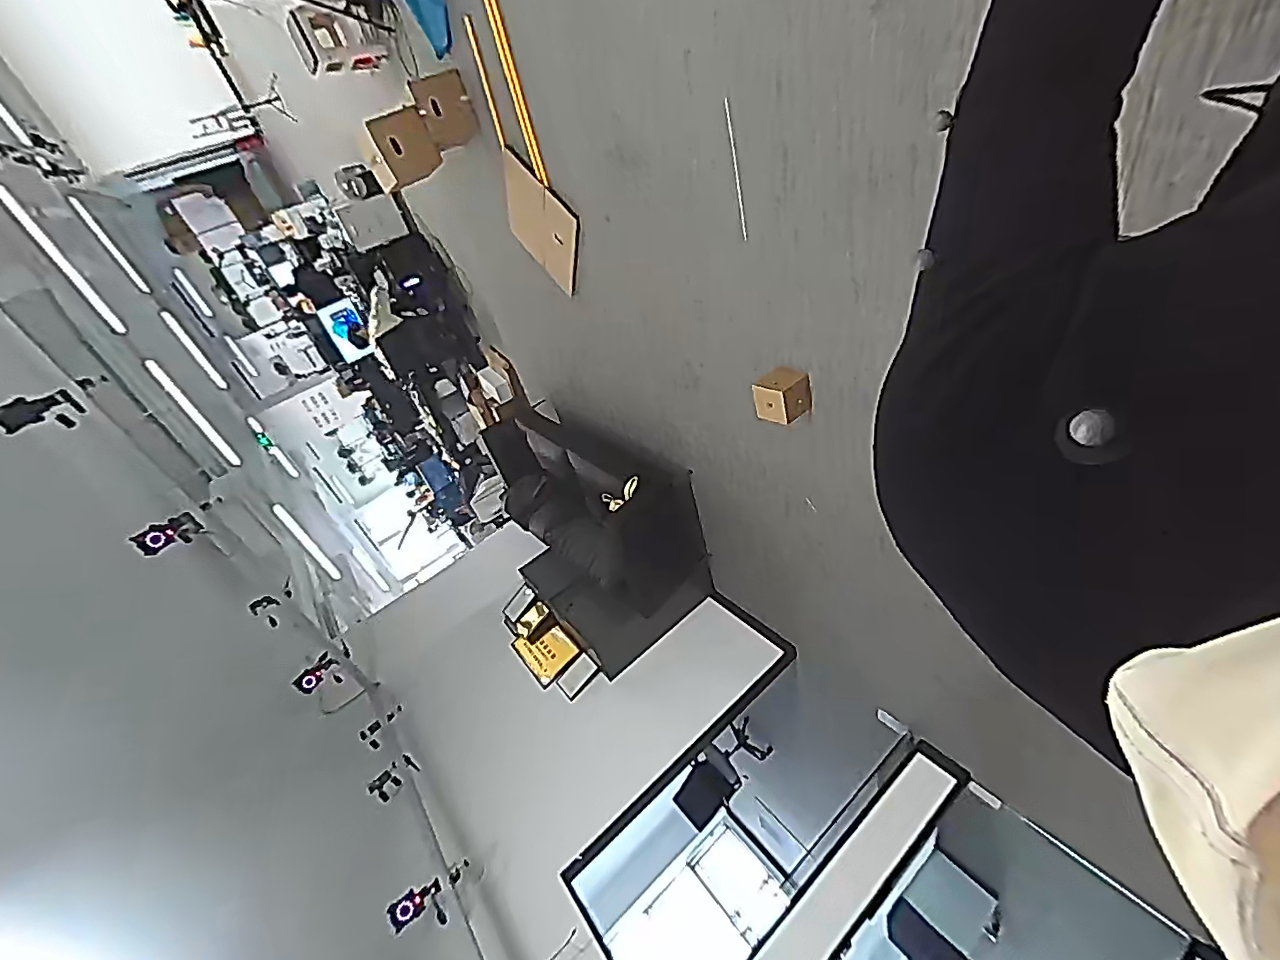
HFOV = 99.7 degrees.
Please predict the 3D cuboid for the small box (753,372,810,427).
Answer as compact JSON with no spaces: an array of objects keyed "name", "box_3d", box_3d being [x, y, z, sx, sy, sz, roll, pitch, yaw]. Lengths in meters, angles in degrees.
[{"name":"small box","box_3d":[0.623,-0.357,2.358,0.179,0.176,0.168,28,145,49]}]
